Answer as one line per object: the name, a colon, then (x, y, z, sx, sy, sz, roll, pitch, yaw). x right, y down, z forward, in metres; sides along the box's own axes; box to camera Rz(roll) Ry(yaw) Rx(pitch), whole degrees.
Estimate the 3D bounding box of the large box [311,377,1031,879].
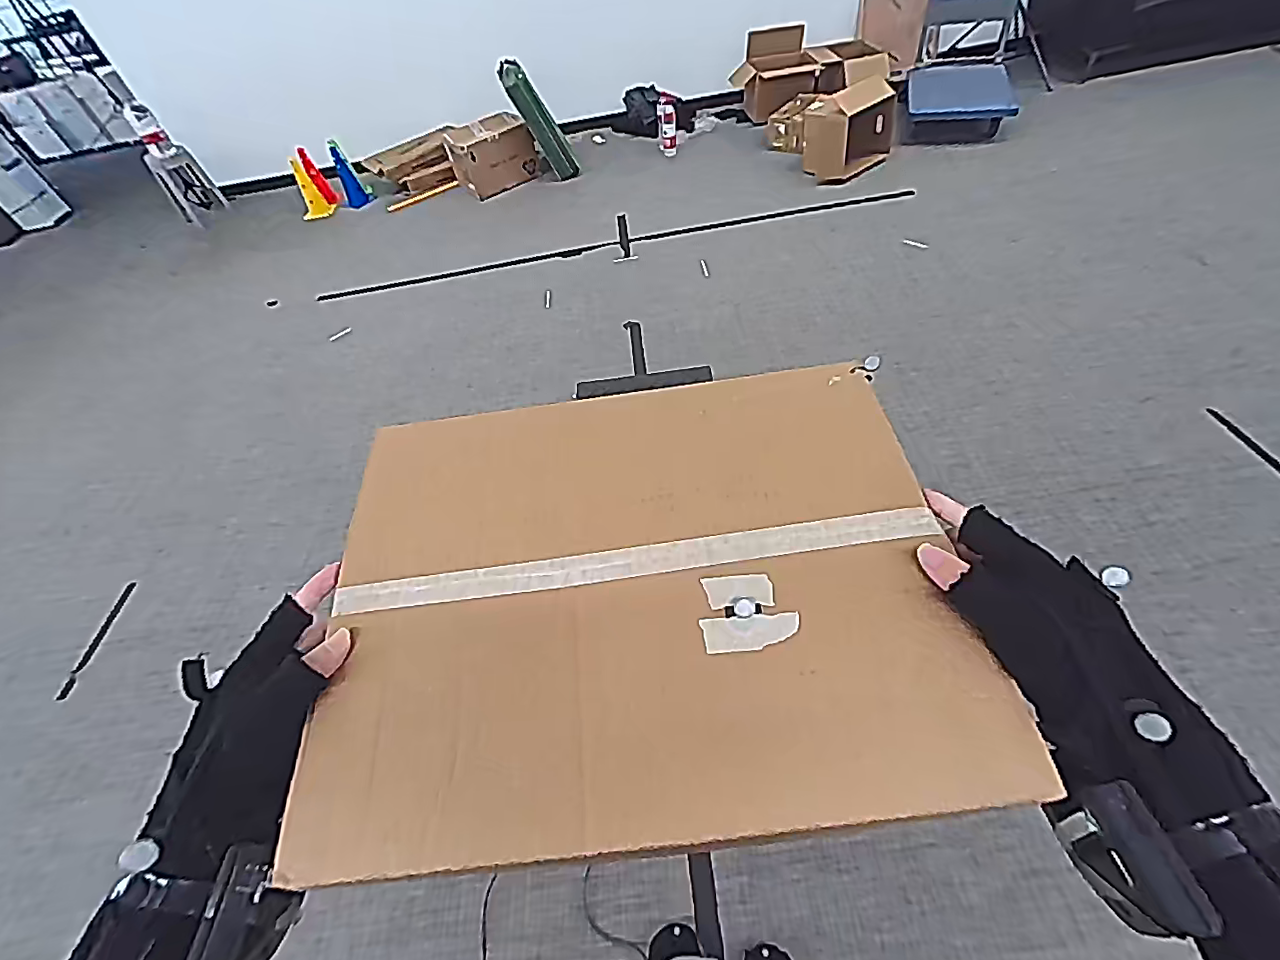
large box: (0.012, 0.147, 0.497, 0.408, 0.320, 0.320, -8, 55, 1)
